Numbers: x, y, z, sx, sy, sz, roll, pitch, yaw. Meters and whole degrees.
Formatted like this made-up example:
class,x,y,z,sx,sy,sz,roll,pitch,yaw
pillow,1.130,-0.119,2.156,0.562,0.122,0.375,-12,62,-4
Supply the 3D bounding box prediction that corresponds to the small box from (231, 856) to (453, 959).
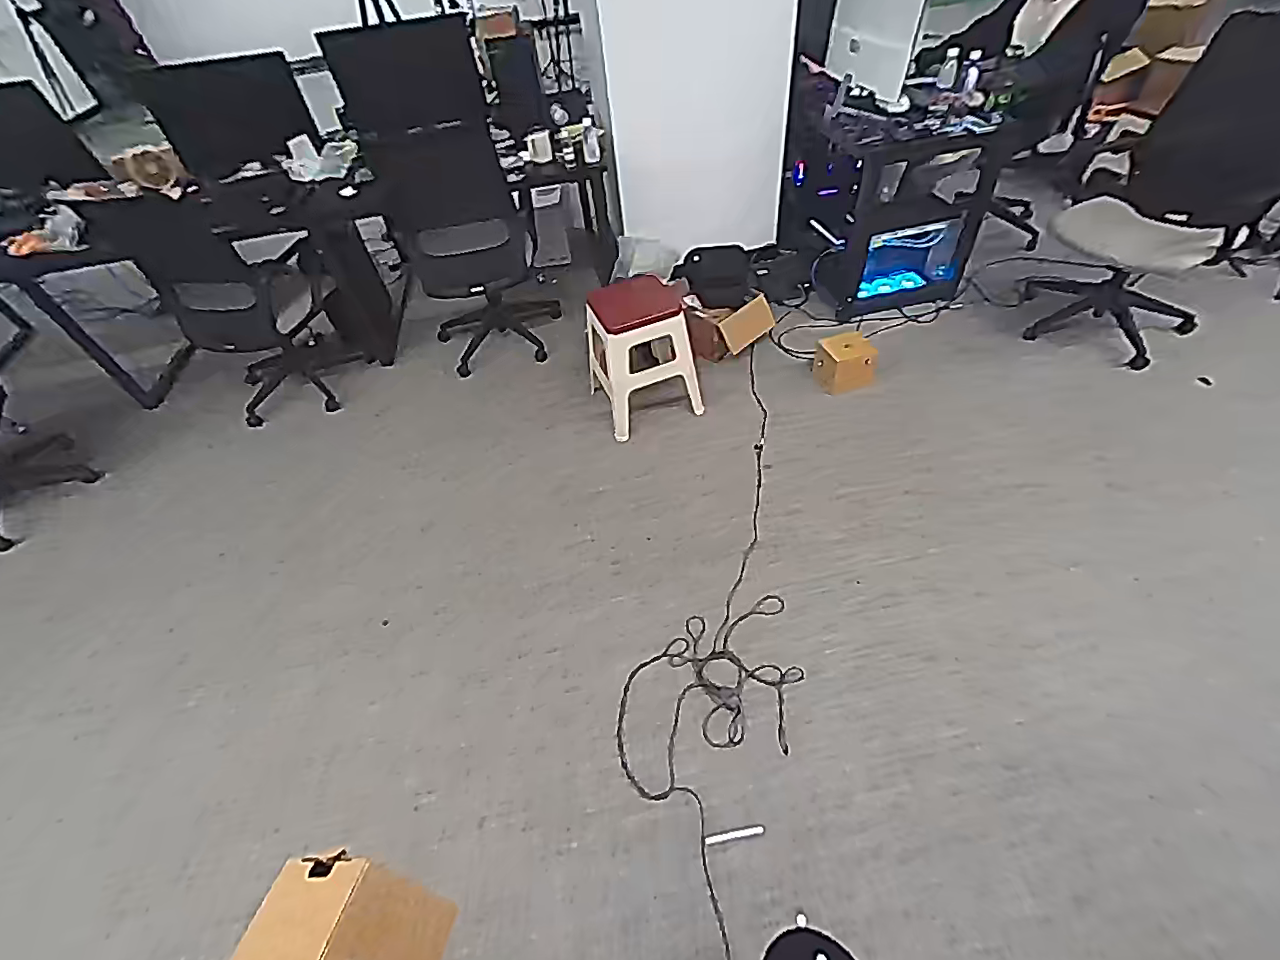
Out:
class,x,y,z,sx,sy,sz,roll,pitch,yaw
small box,-0.354,0.572,0.632,0.168,0.176,0.179,-21,31,25
